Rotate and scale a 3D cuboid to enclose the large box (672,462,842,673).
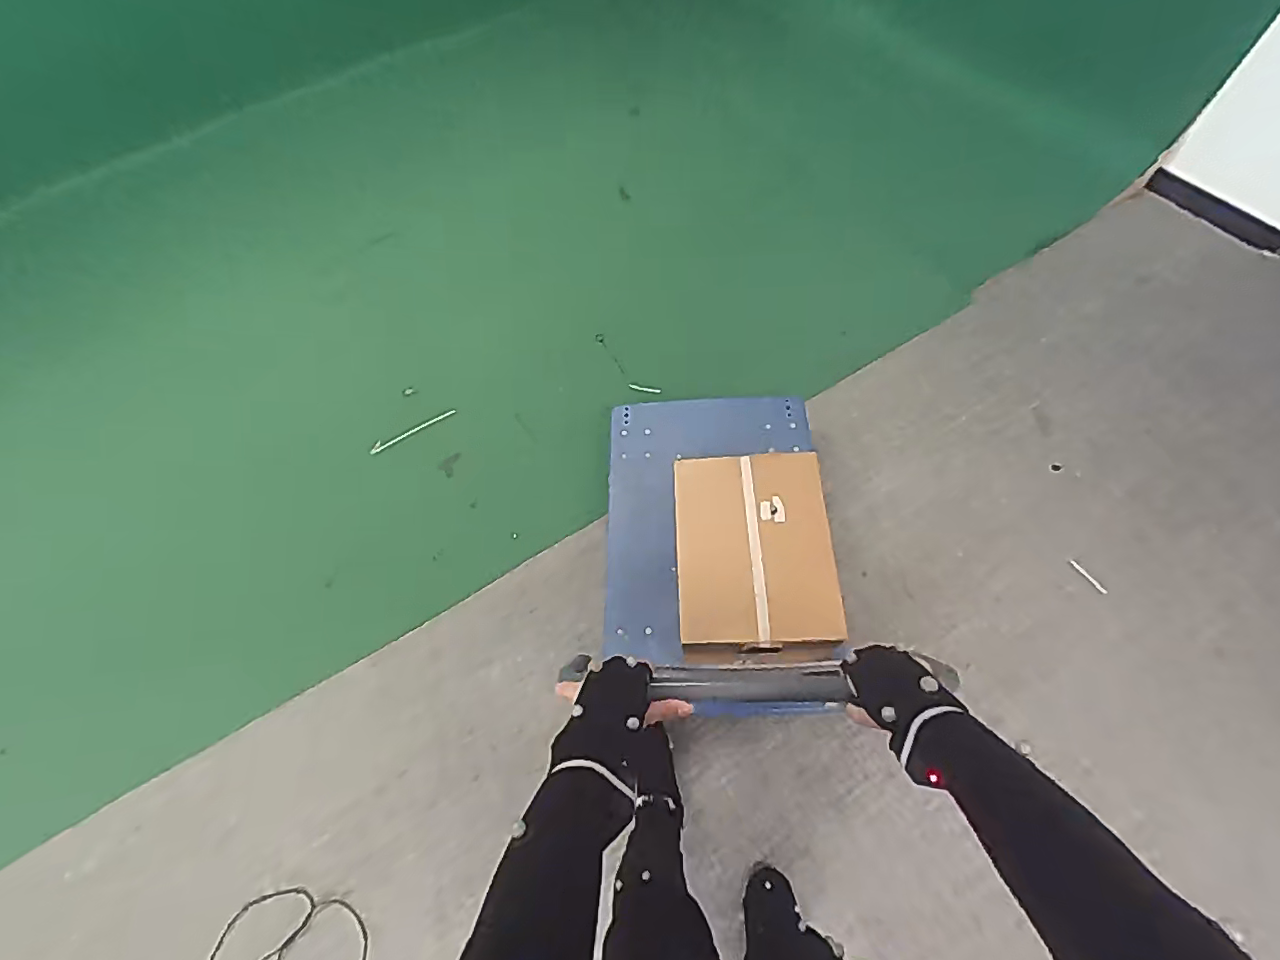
[{"bbox_3d":[0.245,0.214,1.257,0.320,0.320,0.408,-3,62,4],"label":"large box"}]
